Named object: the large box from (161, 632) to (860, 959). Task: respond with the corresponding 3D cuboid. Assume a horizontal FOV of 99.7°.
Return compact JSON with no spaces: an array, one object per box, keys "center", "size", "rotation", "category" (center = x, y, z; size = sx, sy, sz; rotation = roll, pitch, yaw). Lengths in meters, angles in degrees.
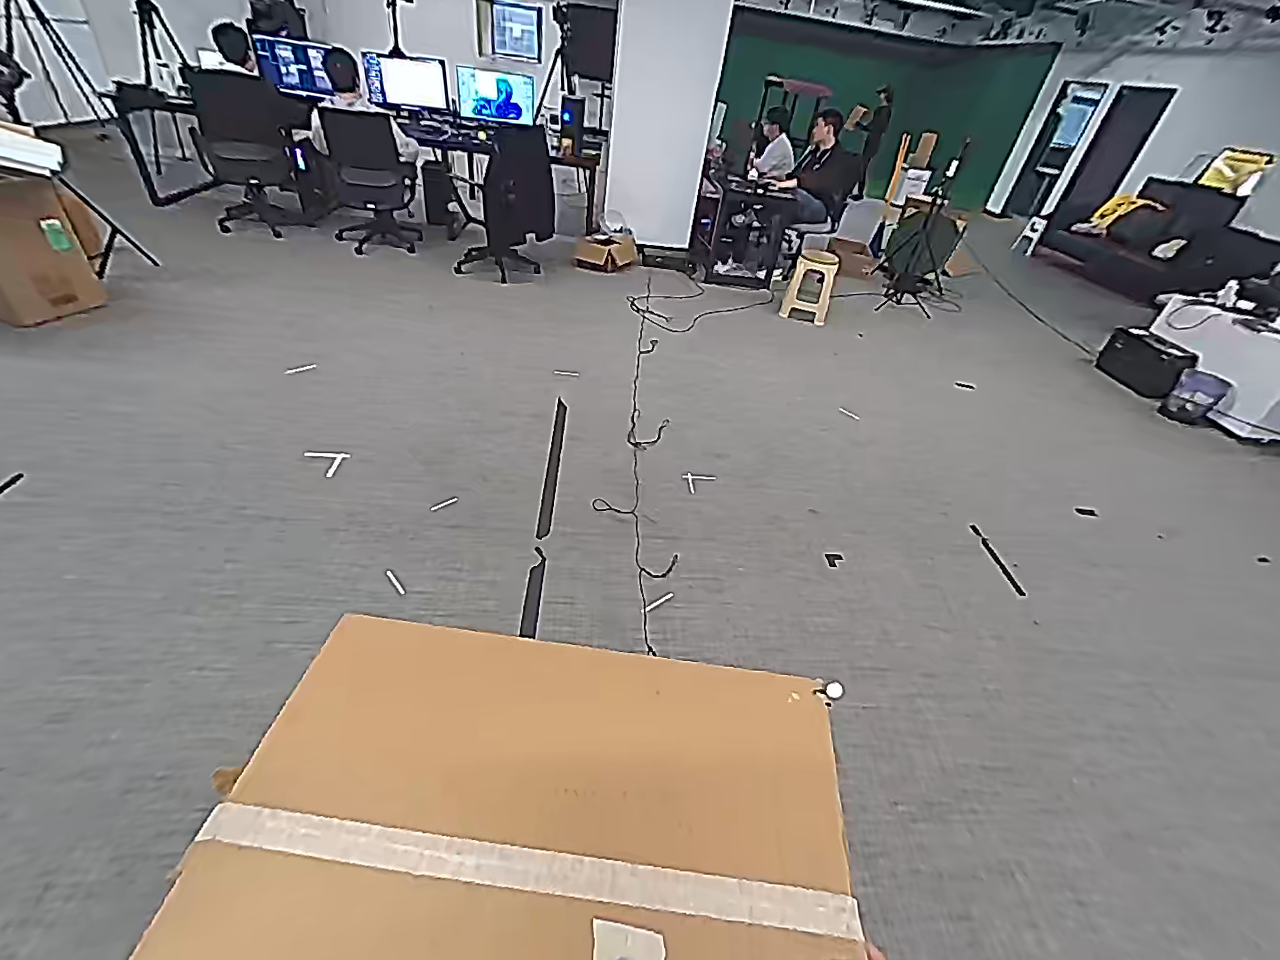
[{"center":[-0.075,0.361,0.439],"size":[0.408,0.320,0.320],"rotation":[8,43,2],"category":"large box"}]
